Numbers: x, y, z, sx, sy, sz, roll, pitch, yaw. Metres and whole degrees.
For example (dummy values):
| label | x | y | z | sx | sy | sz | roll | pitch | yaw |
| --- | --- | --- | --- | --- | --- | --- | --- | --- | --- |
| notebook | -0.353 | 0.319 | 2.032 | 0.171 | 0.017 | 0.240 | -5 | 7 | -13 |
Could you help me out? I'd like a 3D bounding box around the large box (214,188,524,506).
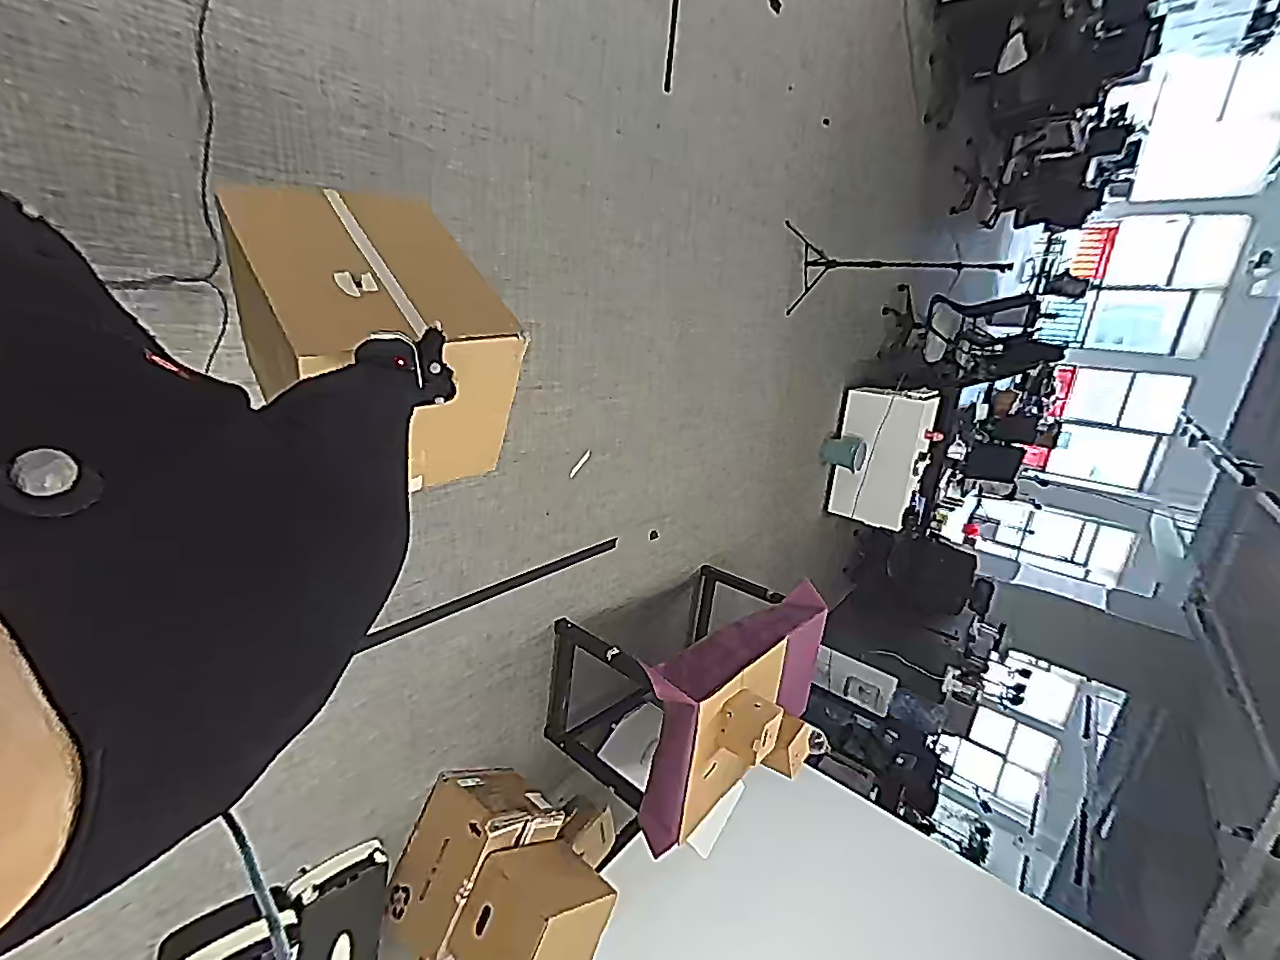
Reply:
| label | x | y | z | sx | sy | sz | roll | pitch | yaw |
| --- | --- | --- | --- | --- | --- | --- | --- | --- | --- |
| large box | -0.459 | -0.229 | 0.922 | 0.320 | 0.408 | 0.320 | -20 | 152 | -38 |
